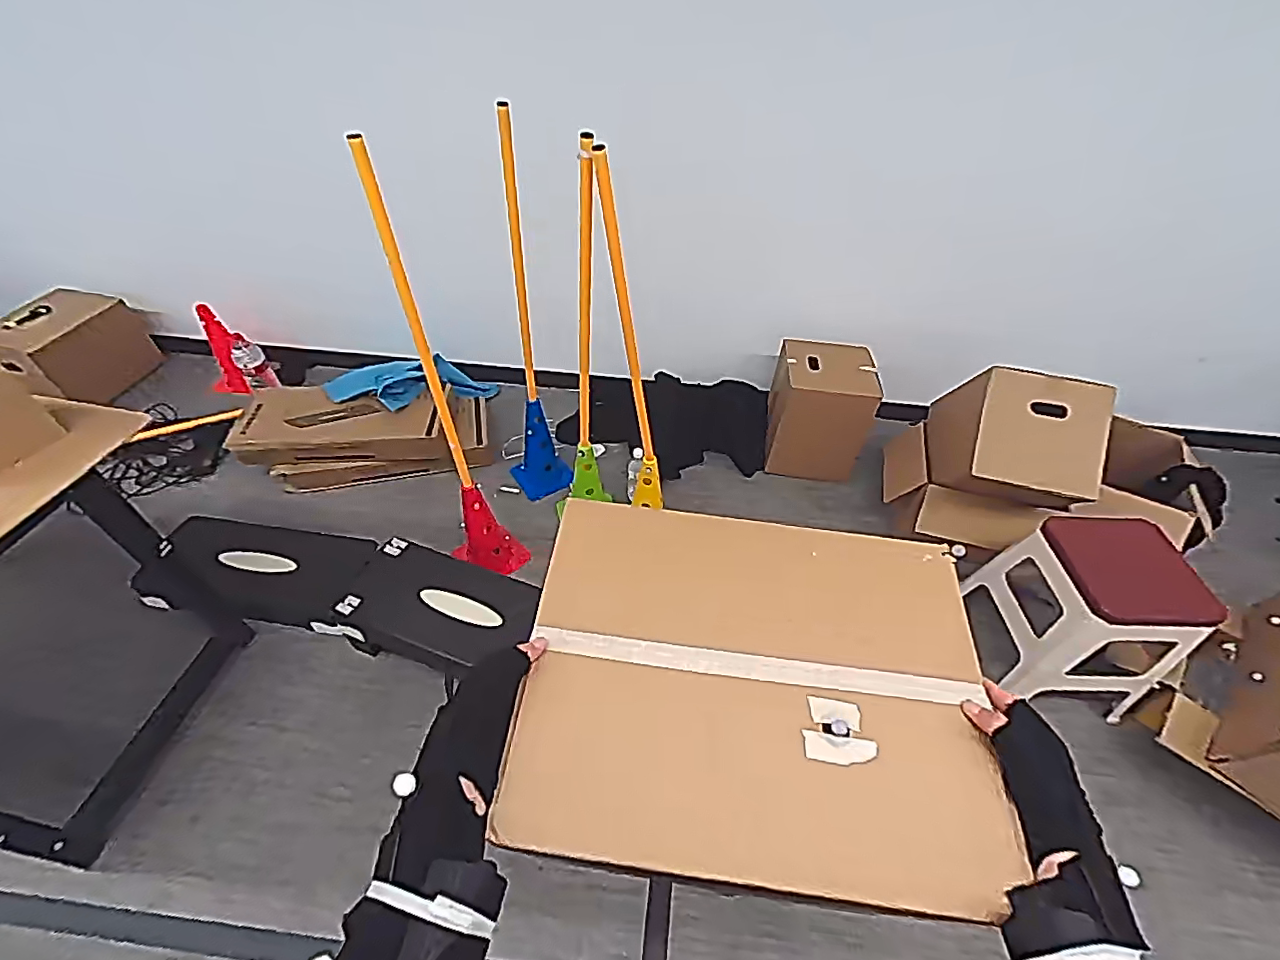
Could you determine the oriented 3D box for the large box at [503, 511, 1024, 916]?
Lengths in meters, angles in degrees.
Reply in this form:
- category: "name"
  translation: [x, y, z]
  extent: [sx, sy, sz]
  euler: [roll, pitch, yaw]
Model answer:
- category: "large box"
  translation: [0.099, 0.265, 0.613]
  extent: [0.408, 0.320, 0.320]
  euler: [7, 54, 3]
